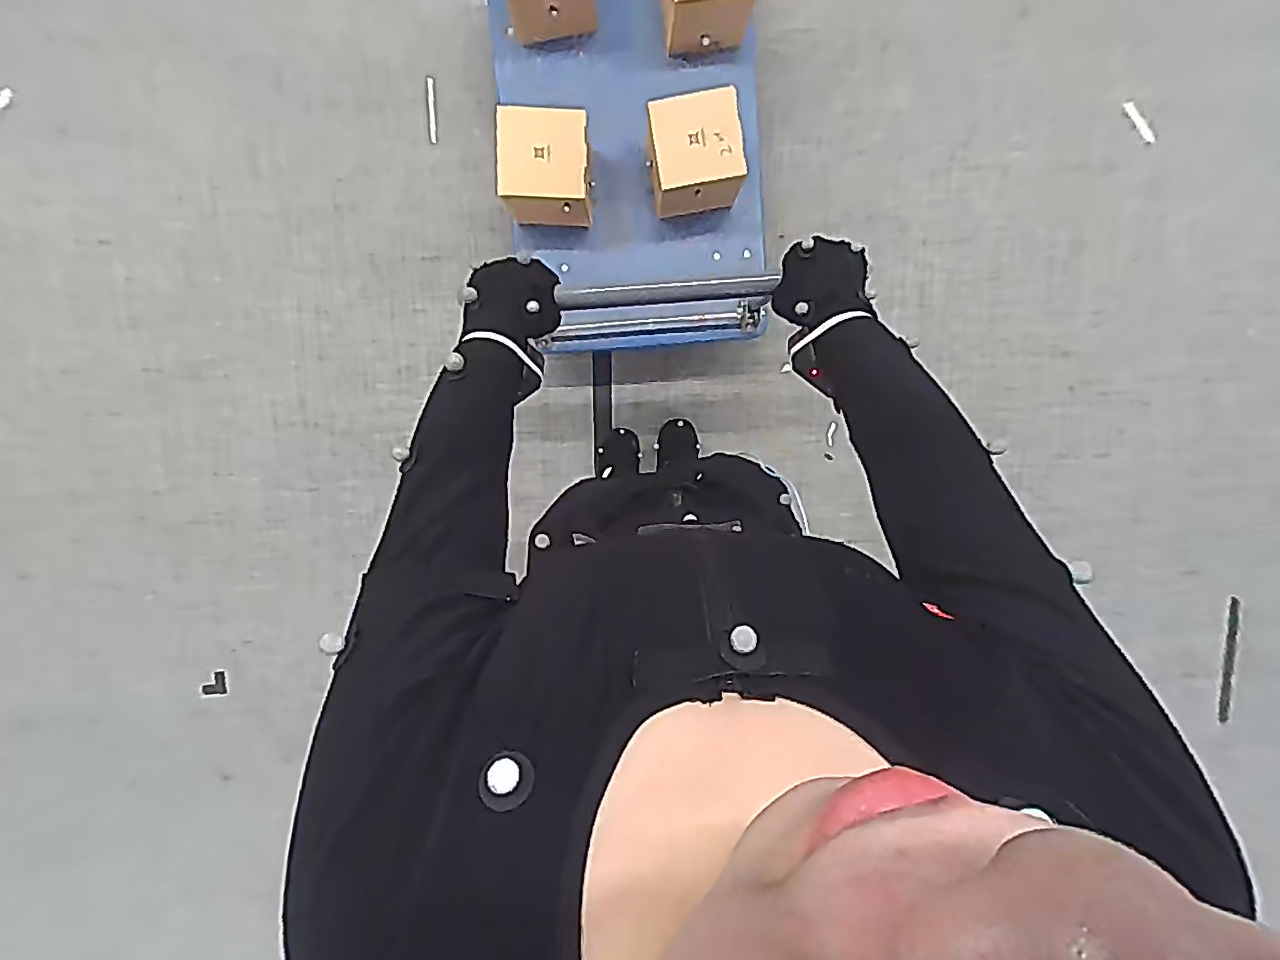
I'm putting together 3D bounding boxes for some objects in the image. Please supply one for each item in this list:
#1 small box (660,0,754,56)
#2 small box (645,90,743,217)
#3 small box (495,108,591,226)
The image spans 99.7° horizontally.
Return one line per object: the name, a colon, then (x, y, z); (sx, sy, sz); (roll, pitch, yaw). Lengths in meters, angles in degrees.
small box: (0.128, -1.012, 1.096); (0.168, 0.176, 0.179); (-7, 99, 0)
small box: (0.107, -0.677, 1.142); (0.179, 0.176, 0.168); (-10, 98, 1)
small box: (-0.199, -0.650, 1.142); (0.179, 0.176, 0.168); (1, 98, -3)
